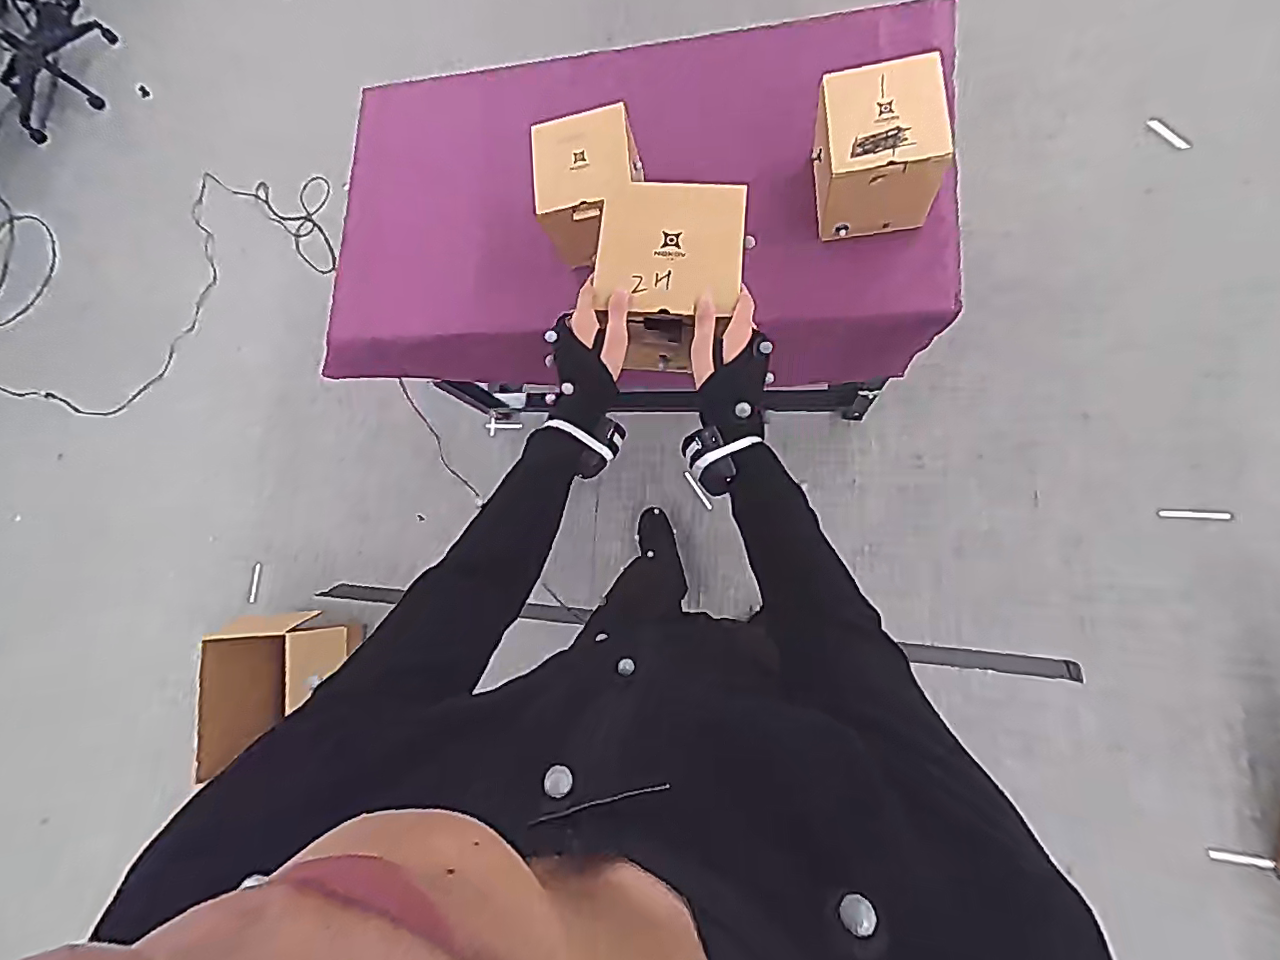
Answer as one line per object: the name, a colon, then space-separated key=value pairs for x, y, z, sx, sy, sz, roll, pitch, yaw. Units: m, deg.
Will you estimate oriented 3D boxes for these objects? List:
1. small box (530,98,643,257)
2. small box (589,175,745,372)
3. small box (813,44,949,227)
small box: x=-0.084 y=-0.522 z=0.965 sx=0.168 sy=0.176 sz=0.179 roll=-7 pitch=79 yaw=11
small box: x=0.037 y=-0.254 z=0.694 sx=0.168 sy=0.176 sz=0.179 roll=5 pitch=84 yaw=5
small box: x=0.372 y=-0.529 z=0.862 sx=0.168 sy=0.176 sz=0.179 roll=-3 pitch=79 yaw=12
